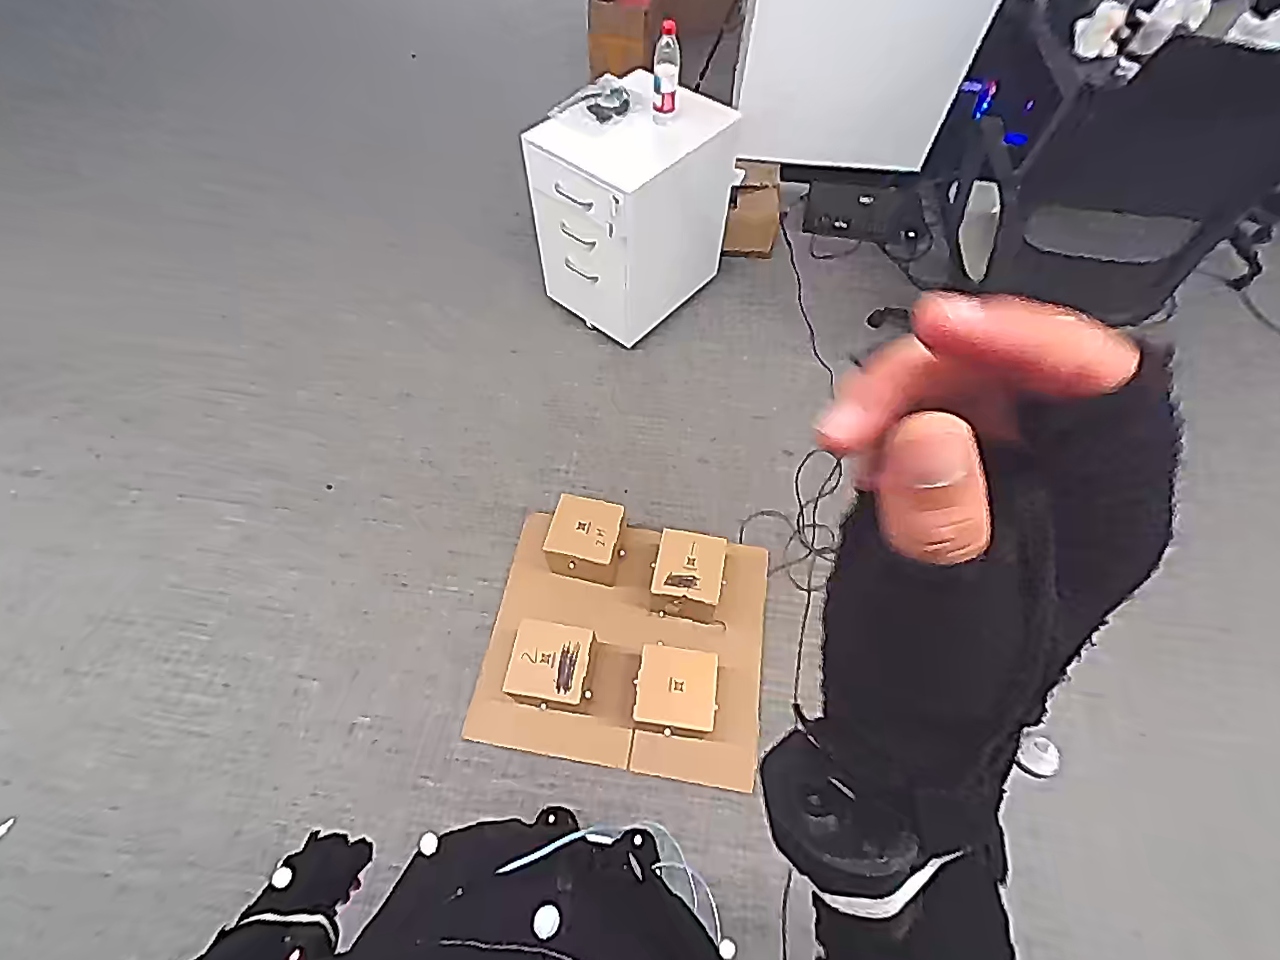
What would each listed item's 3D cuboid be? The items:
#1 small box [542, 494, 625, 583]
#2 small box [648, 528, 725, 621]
[{"bbox_3d":[-0.144,0.162,1.443,0.179,0.176,0.168,12,62,6],"label":"small box"},{"bbox_3d":[0.119,0.249,1.401,0.168,0.176,0.179,10,60,7],"label":"small box"}]
